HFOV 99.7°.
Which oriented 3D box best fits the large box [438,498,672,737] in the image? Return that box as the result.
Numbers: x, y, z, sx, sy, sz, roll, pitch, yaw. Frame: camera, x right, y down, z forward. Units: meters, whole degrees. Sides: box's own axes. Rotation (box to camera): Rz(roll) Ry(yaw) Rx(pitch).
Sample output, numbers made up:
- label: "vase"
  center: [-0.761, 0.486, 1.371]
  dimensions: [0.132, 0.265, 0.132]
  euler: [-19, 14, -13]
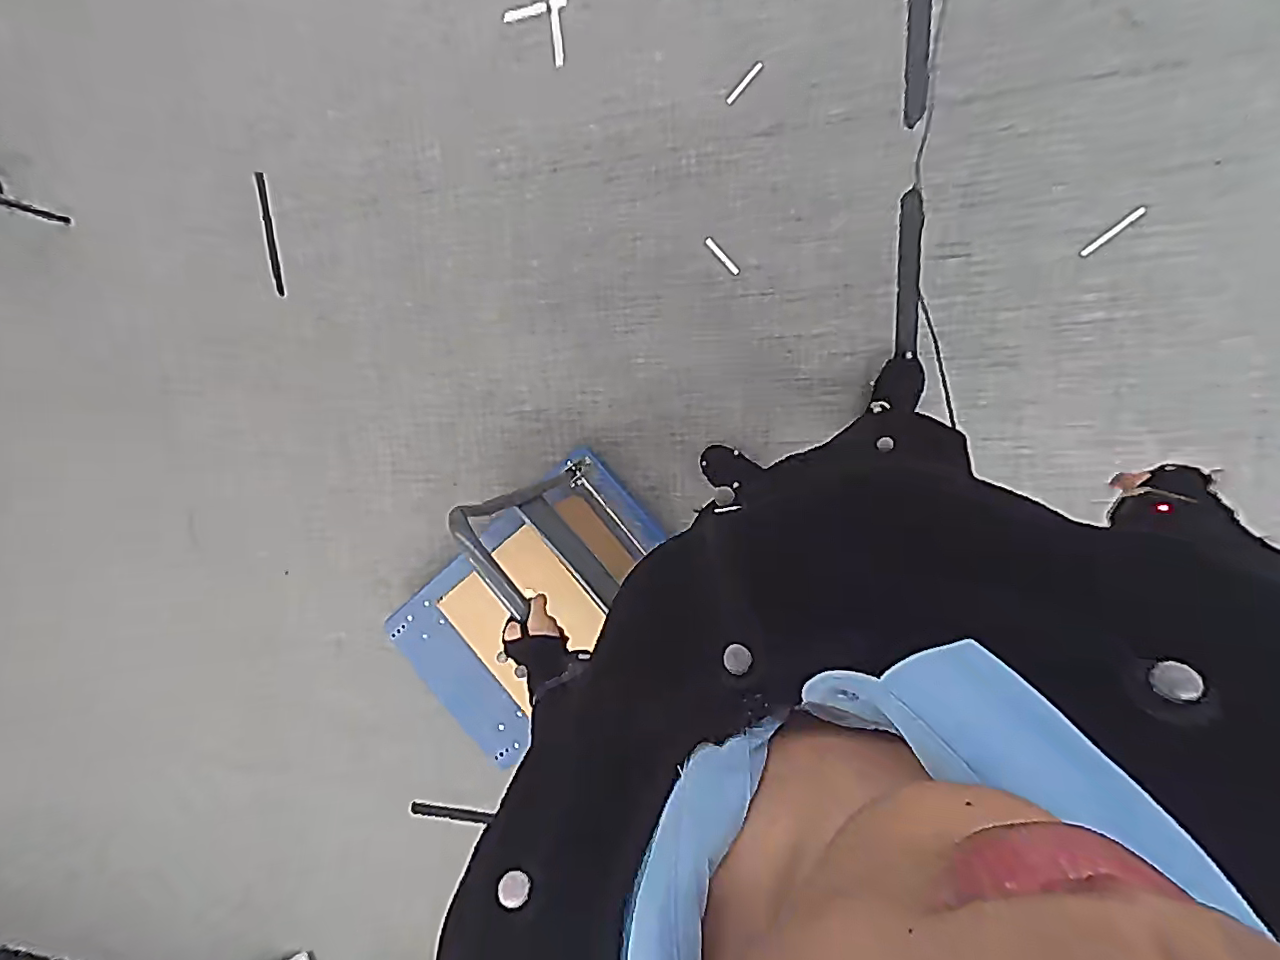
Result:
- label: "large box"
  center: [-0.184, 0.311, 1.312]
  dimensions: [0.320, 0.320, 0.408]
  euler: [-40, 89, 16]
